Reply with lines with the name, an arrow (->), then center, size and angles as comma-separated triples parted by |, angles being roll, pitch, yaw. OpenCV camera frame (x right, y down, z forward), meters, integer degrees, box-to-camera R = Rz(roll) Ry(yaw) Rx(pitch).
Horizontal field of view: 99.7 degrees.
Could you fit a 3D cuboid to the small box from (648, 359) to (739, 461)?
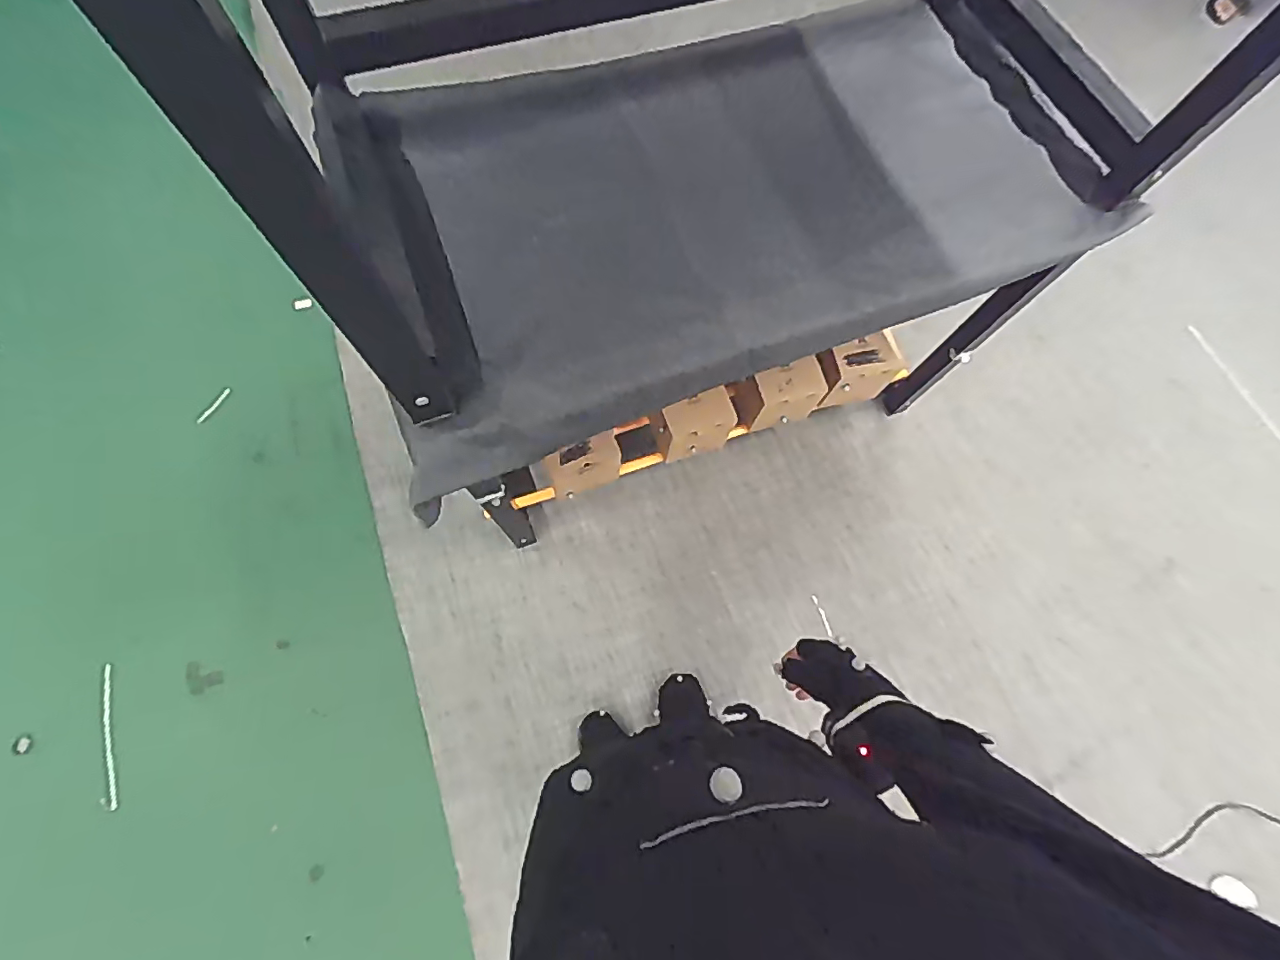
small box -> 0.123, -0.169, 1.341 | 0.168, 0.176, 0.179 | -17, 75, -8
